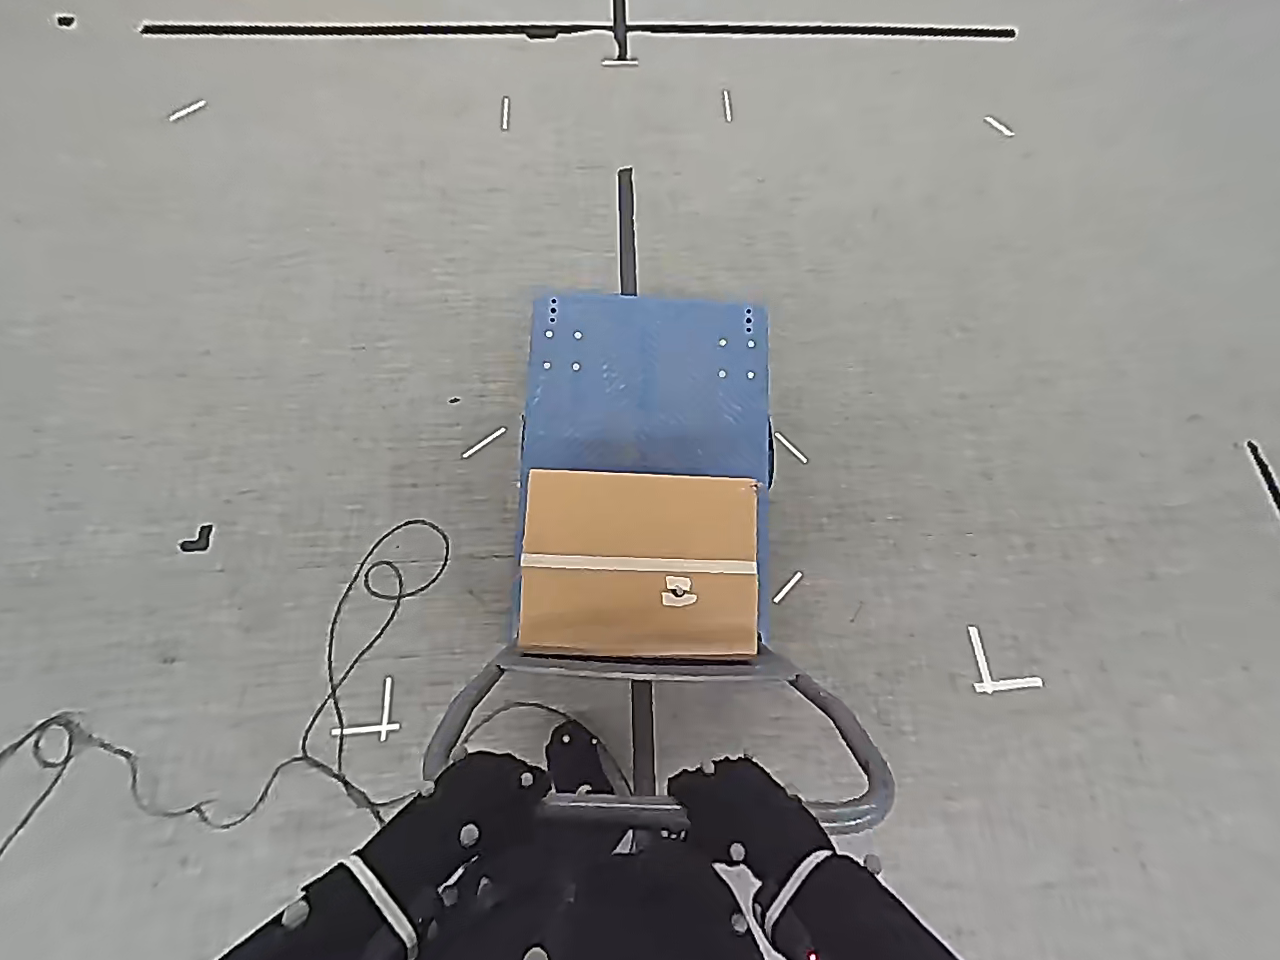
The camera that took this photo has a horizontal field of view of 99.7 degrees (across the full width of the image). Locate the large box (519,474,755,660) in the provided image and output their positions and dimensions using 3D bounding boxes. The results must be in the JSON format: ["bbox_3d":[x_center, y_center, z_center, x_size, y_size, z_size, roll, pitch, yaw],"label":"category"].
[{"bbox_3d":[-0.009,0.172,1.072,0.408,0.320,0.320,3,81,-3],"label":"large box"}]
